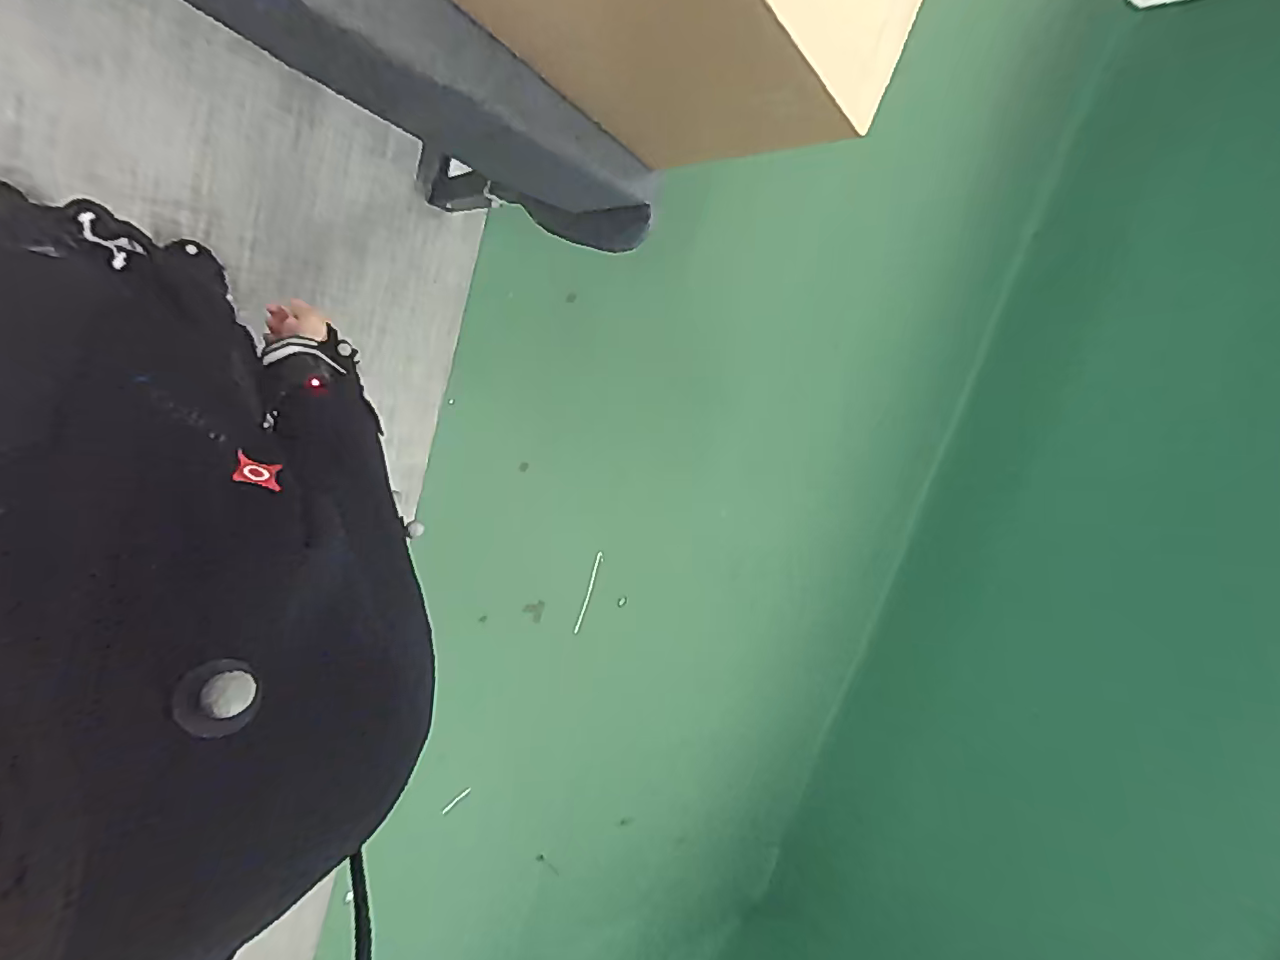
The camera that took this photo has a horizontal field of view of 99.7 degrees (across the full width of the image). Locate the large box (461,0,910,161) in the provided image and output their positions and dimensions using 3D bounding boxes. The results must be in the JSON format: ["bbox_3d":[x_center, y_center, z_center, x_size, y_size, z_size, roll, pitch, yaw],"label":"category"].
[{"bbox_3d":[0.025,-0.555,0.471,0.408,0.320,0.320,14,99,-45],"label":"large box"}]
